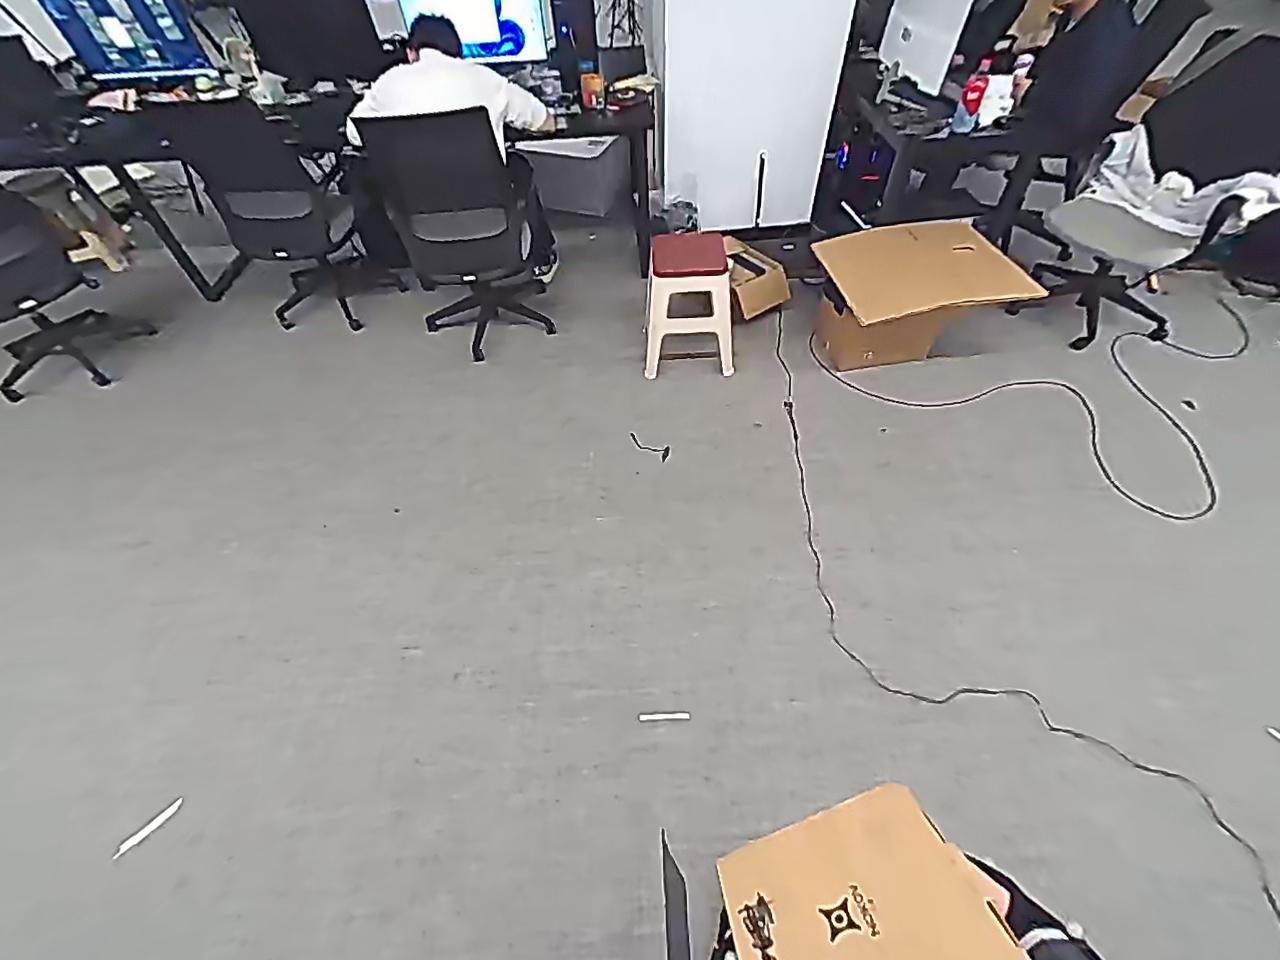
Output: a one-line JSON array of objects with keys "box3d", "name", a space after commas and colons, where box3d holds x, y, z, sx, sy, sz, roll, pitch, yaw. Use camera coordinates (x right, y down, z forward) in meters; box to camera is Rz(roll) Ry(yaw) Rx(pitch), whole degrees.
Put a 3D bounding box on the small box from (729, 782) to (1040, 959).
[{"box3d": [0.192, 0.384, 0.411, 0.179, 0.176, 0.168, -24, 12, 2], "name": "small box"}]
